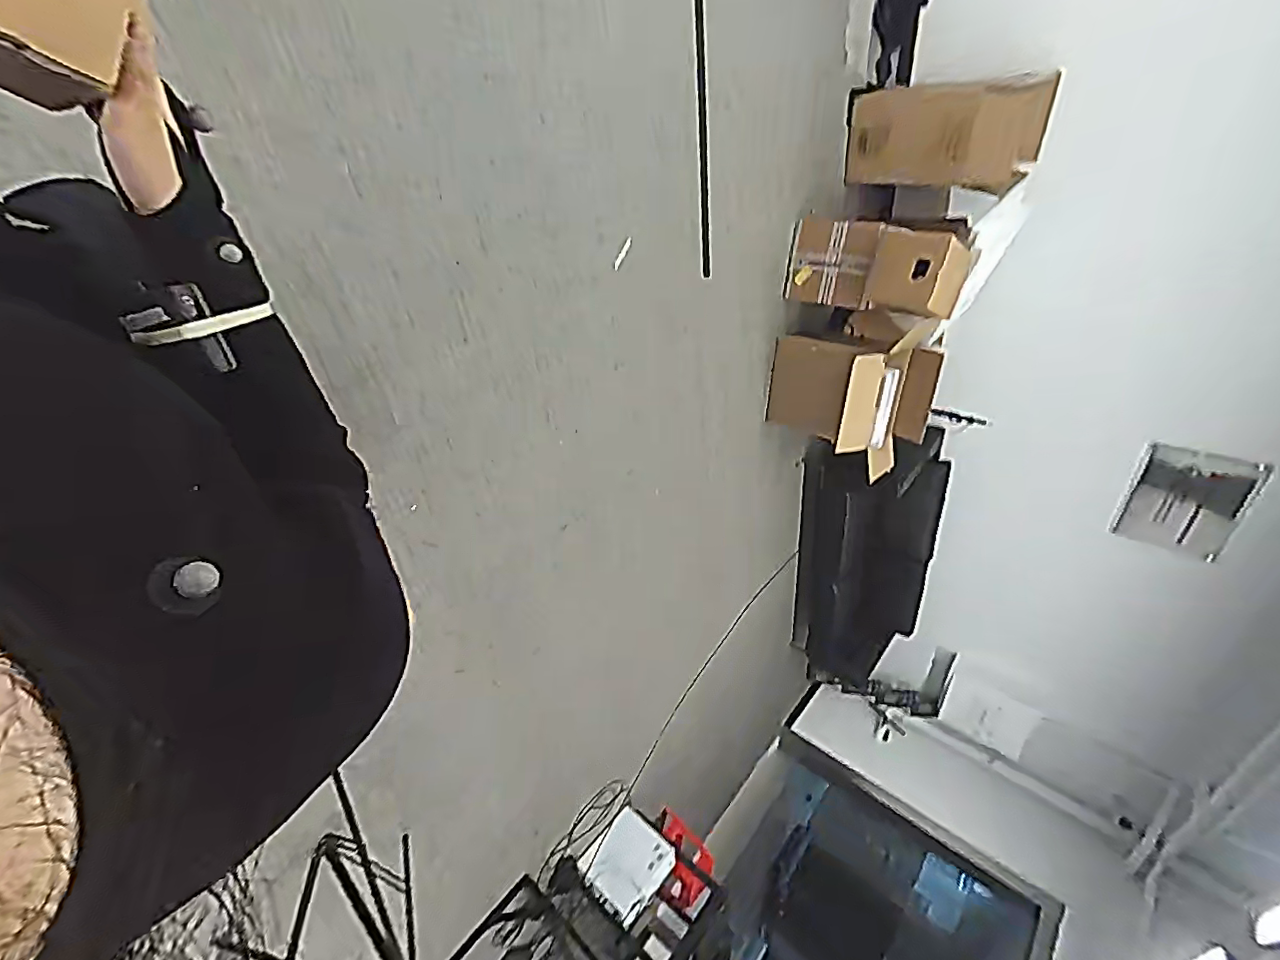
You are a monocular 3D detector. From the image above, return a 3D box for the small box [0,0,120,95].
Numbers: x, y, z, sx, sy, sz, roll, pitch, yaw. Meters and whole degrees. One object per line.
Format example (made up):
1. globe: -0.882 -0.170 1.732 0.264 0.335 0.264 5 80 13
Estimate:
1. small box: -0.355 -0.315 0.246 0.168 0.176 0.179 6 102 -55
